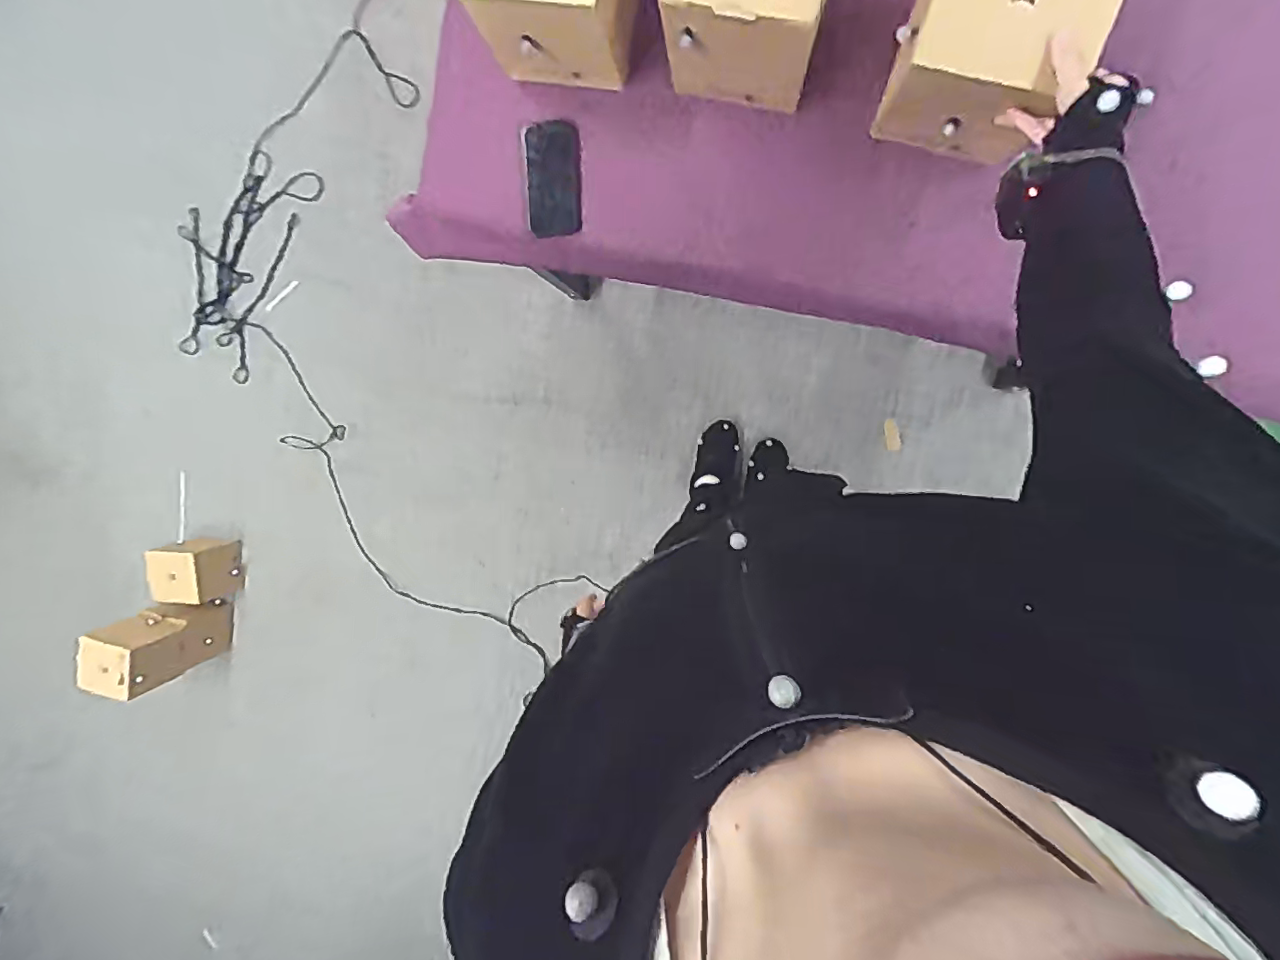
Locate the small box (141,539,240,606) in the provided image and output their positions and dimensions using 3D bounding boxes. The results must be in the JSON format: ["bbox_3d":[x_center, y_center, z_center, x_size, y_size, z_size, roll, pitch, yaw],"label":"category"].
[{"bbox_3d":[-1.423,0.288,1.720,0.179,0.176,0.168,2,99,8],"label":"small box"}]

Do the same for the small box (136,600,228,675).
[{"bbox_3d":[-1.484,0.497,1.756,0.168,0.176,0.179,12,100,8],"label":"small box"}]

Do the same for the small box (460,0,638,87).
[{"bbox_3d":[-0.098,-0.616,0.650,0.168,0.176,0.179,12,98,8],"label":"small box"}]

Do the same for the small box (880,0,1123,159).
[{"bbox_3d":[0.381,-0.482,0.582,0.168,0.176,0.179,18,102,6],"label":"small box"}]

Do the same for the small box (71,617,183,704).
[{"bbox_3d":[-1.511,0.524,1.596,0.179,0.176,0.168,14,100,8],"label":"small box"}]
